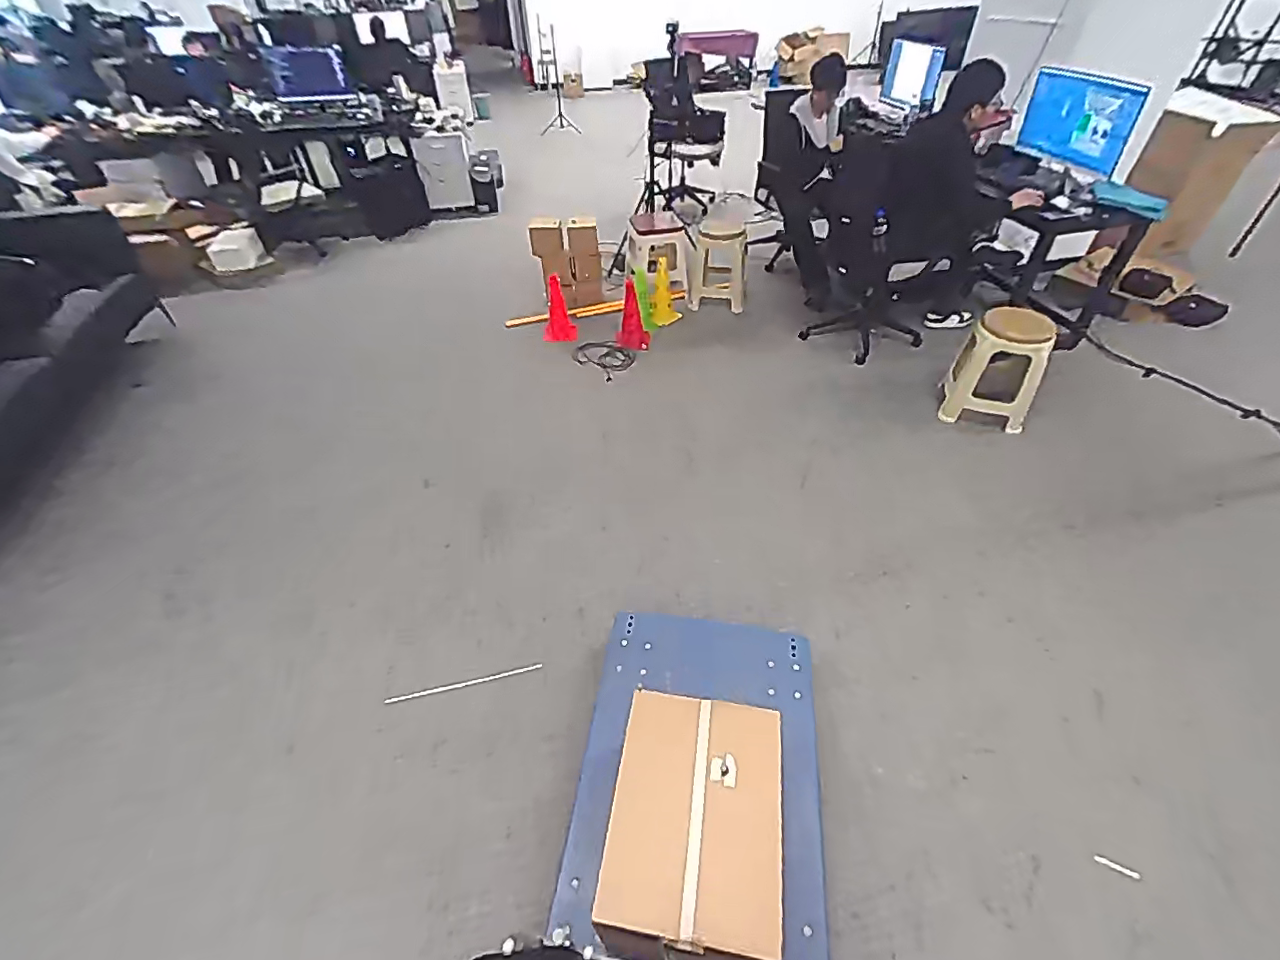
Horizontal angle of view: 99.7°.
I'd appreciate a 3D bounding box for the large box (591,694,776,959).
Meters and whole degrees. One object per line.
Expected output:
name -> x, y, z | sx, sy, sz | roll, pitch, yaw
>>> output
large box -> 0.102, 0.728, 1.130 | 0.320, 0.320, 0.408 | 7, 44, 8
